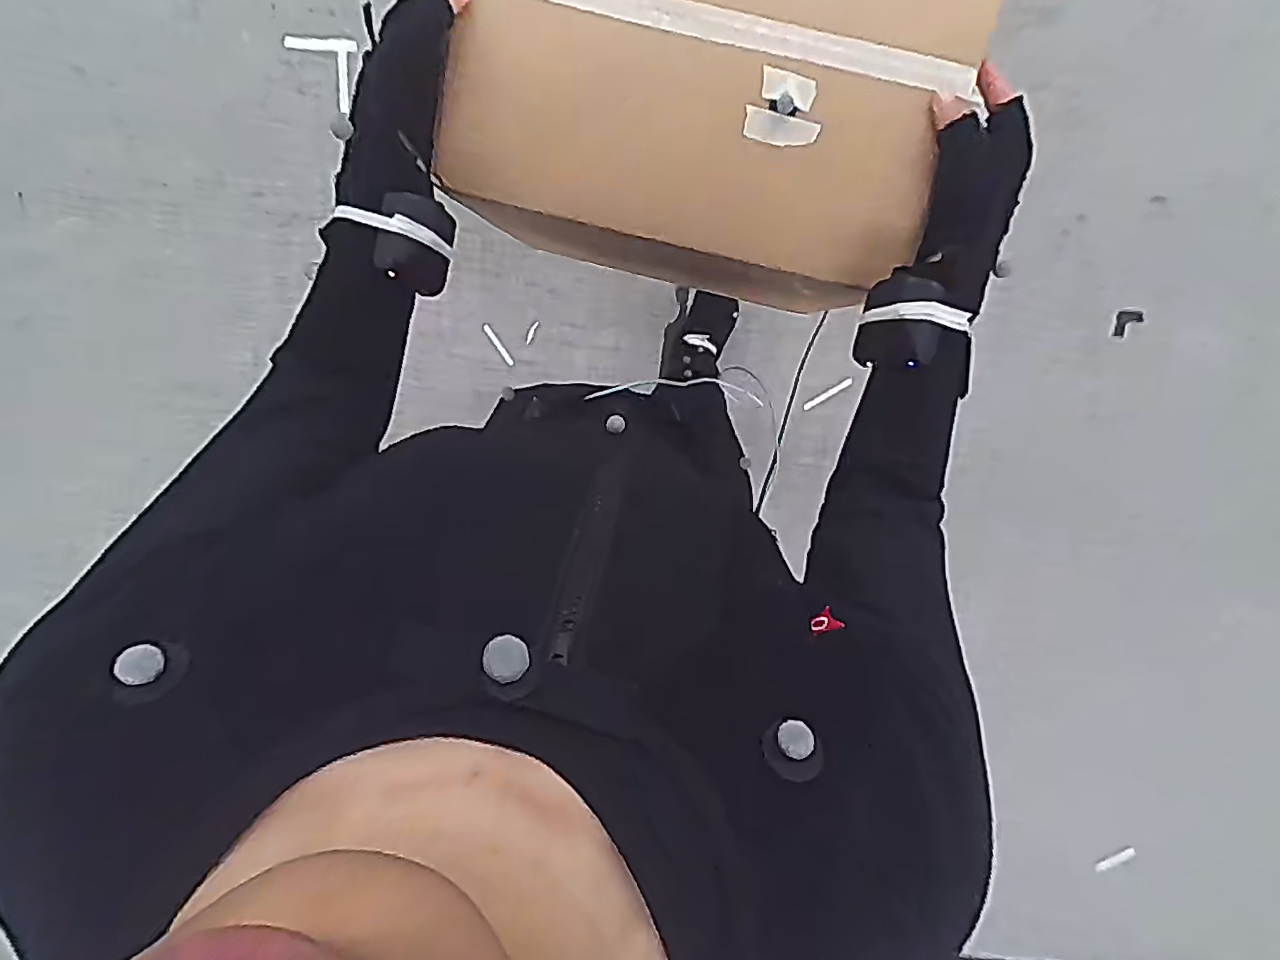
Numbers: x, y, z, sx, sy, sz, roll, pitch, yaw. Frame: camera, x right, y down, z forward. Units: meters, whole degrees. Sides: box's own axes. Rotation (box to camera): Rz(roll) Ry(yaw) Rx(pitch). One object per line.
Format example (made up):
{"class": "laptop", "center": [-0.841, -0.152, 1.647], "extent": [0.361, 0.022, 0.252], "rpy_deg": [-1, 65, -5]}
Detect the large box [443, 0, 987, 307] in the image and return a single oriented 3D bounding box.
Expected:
{"class": "large box", "center": [0.059, -0.385, 0.565], "extent": [0.408, 0.320, 0.320], "rpy_deg": [13, 106, -2]}
